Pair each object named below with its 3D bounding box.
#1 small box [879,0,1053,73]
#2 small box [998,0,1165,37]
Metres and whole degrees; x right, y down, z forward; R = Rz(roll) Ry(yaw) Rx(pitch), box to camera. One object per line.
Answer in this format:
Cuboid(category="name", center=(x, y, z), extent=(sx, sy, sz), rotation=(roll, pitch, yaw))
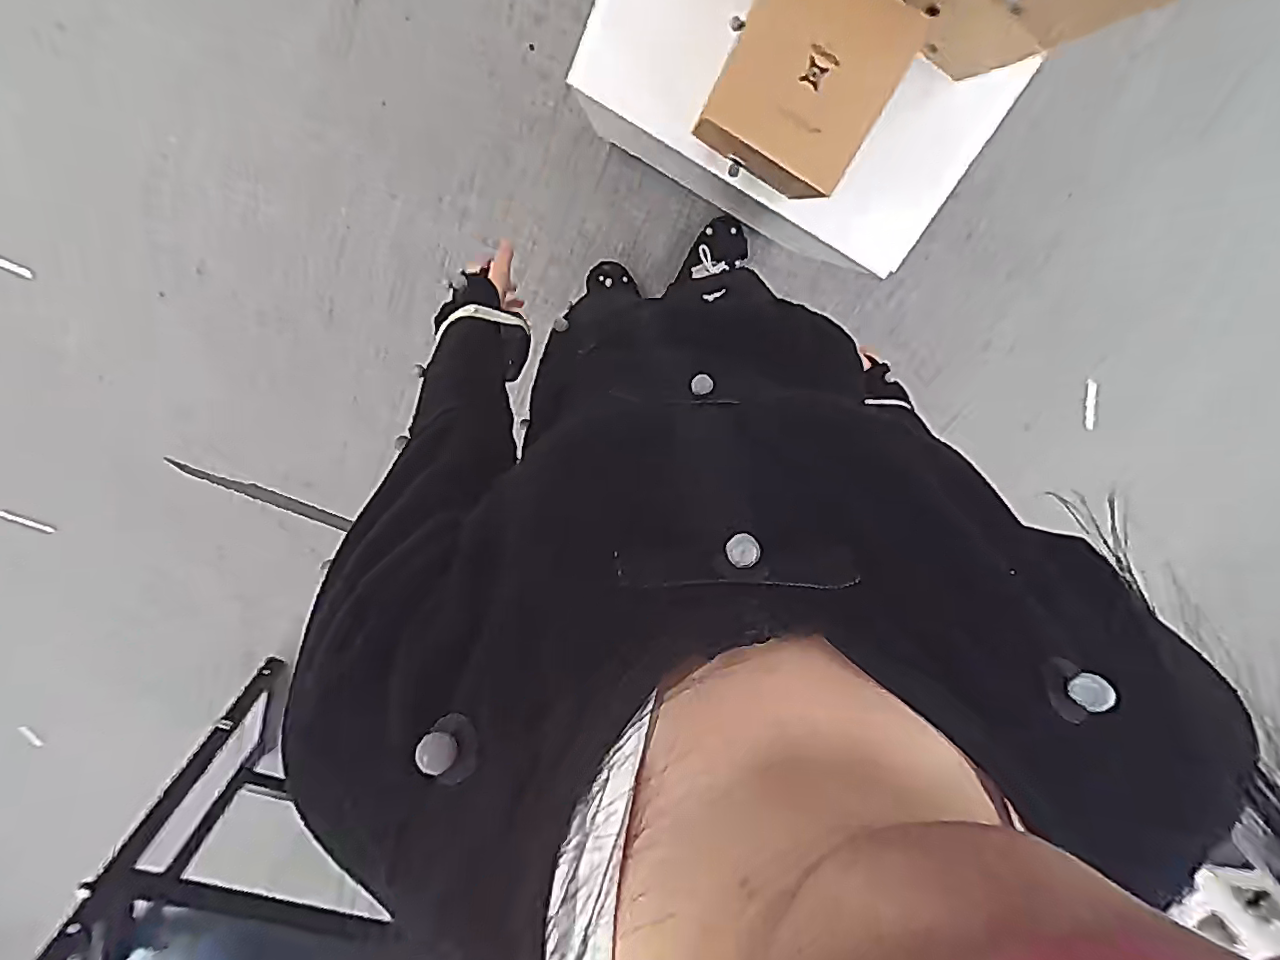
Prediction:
Cuboid(category="small box", center=(0.374, -0.566, 0.556), extent=(0.168, 0.176, 0.179), rotation=(26, 115, -13))
Cuboid(category="small box", center=(0.374, -0.493, 0.408), extent=(0.168, 0.176, 0.179), rotation=(26, 115, -12))
